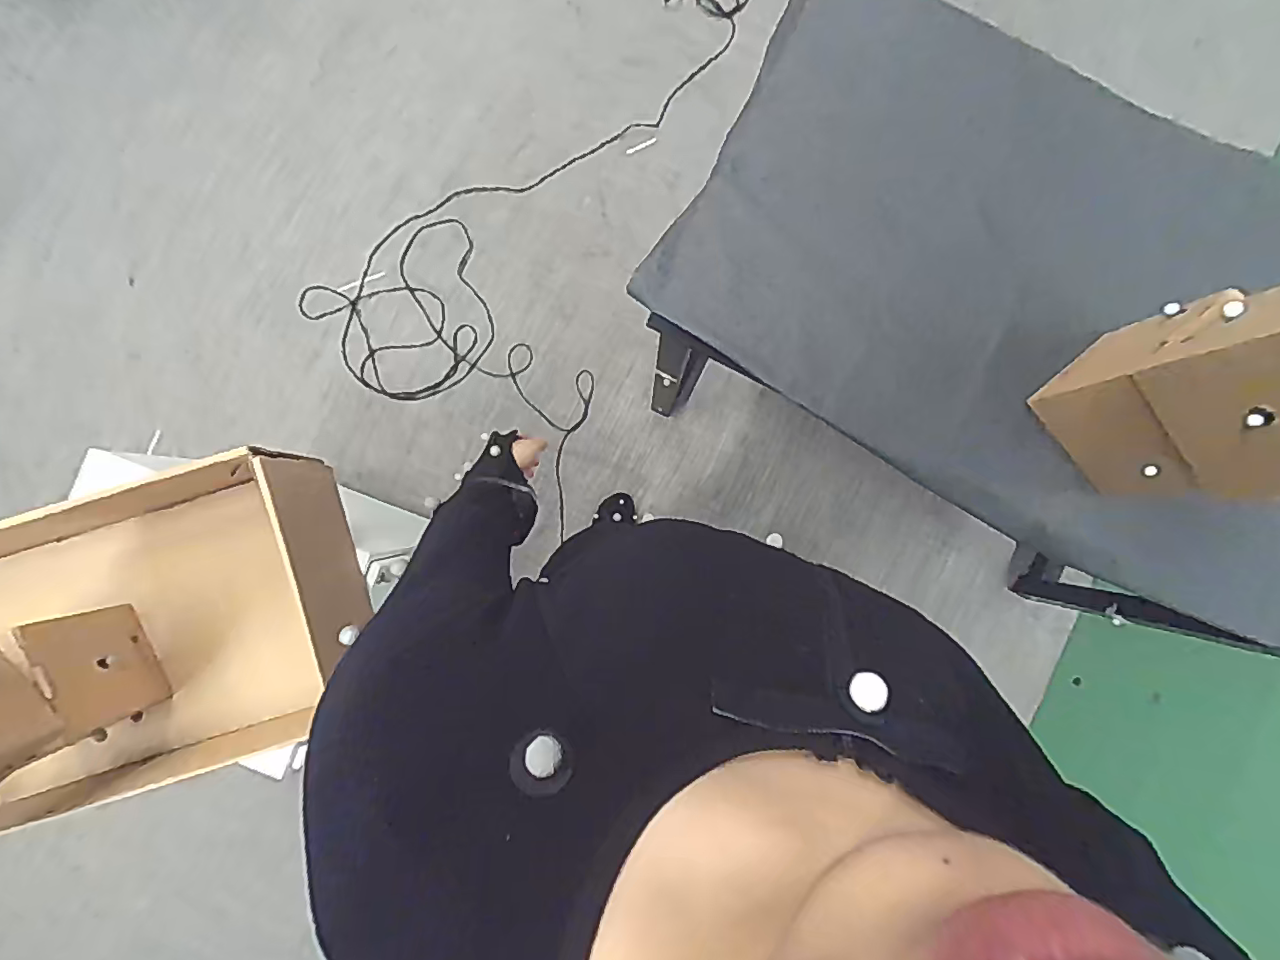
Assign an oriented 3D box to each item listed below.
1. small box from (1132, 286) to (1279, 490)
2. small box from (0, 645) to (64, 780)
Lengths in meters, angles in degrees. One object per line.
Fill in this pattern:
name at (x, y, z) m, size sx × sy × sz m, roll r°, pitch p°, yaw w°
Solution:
small box at (0.666, -0.099, 0.534) m, size 0.168 × 0.176 × 0.179 m, roll -32°, pitch 87°, yaw -3°
small box at (-0.839, 0.291, 0.603) m, size 0.168 × 0.176 × 0.179 m, roll -42°, pitch 91°, yaw -2°
